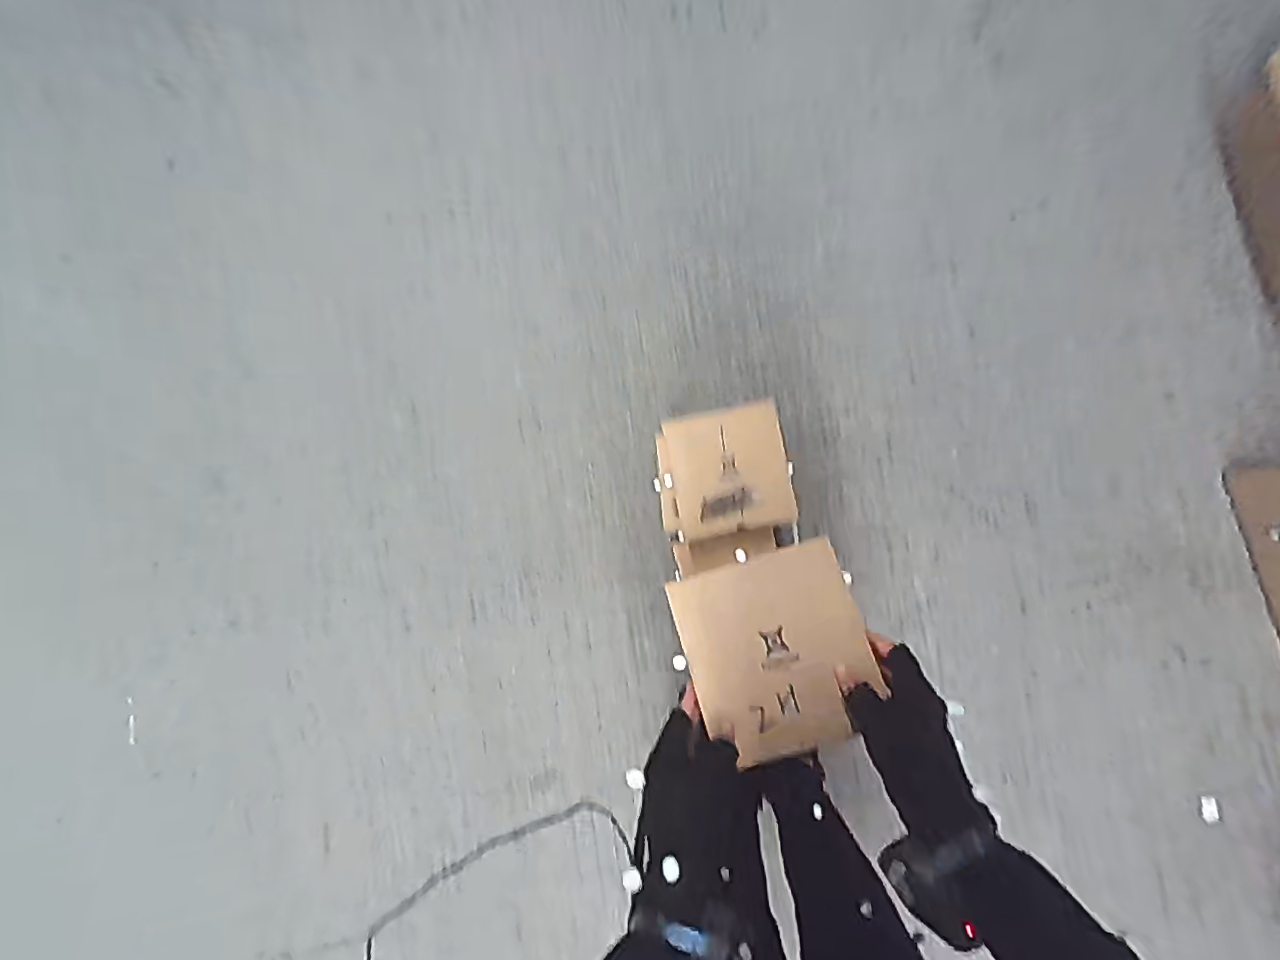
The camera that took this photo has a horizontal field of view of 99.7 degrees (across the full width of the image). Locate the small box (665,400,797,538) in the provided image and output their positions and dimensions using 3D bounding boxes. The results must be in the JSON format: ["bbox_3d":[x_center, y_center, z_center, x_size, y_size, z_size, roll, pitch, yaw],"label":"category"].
[{"bbox_3d":[0.139,-0.012,0.852,0.168,0.176,0.179,-11,85,6],"label":"small box"}]

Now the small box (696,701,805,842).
[{"bbox_3d":[0.201,0.537,1.017,0.168,0.176,0.179,-1,90,-4],"label":"small box"}]
